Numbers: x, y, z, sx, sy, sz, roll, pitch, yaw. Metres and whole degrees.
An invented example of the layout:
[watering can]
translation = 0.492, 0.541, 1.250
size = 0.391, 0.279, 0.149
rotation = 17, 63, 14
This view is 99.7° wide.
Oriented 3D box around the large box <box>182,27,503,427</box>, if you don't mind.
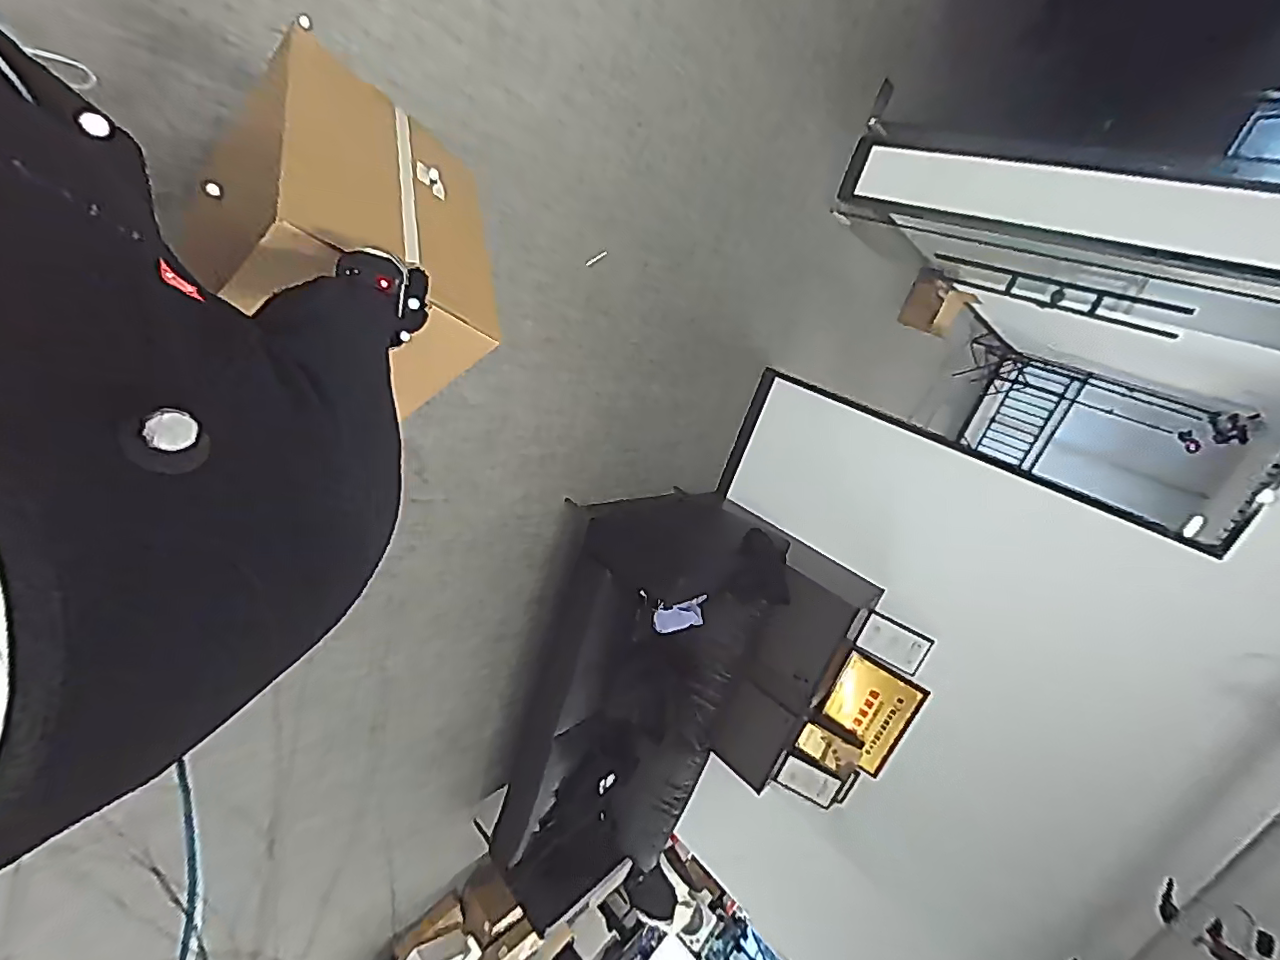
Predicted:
[large box]
translation = -0.458, -0.355, 0.848
size = 0.320, 0.408, 0.320
rotation = -28, 152, 26
